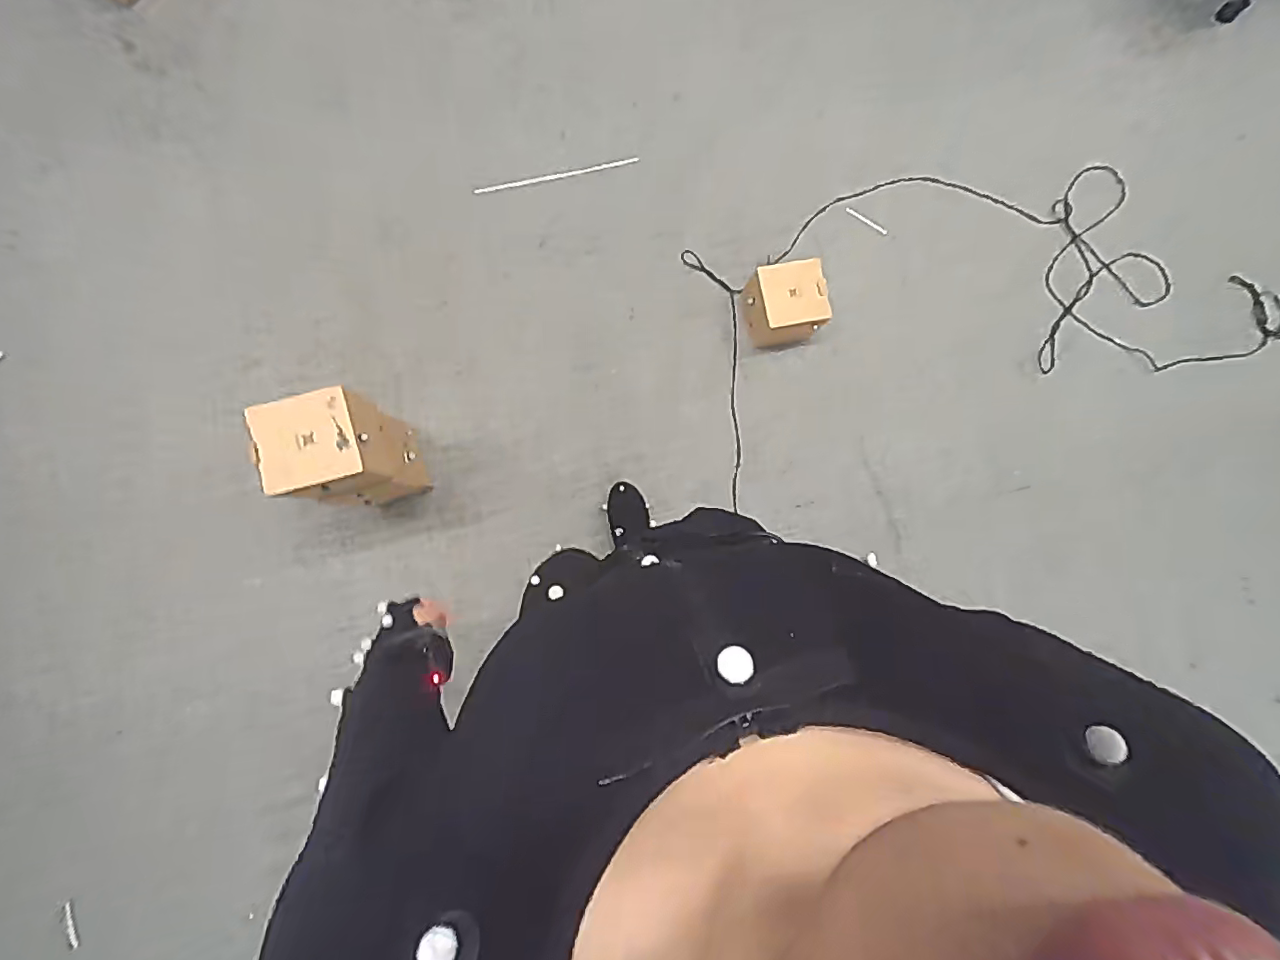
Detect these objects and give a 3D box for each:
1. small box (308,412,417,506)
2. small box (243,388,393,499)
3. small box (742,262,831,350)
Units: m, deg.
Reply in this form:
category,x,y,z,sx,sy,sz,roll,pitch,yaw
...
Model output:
category,x,y,z,sx,sy,sz,roll,pitch,yaw
small box,-0.627,-0.041,1.207,0.179,0.176,0.168,-15,88,-7
small box,-0.610,-0.062,1.045,0.179,0.176,0.168,-15,87,-5
small box,0.389,-0.467,1.477,0.179,0.176,0.168,-12,87,-6
